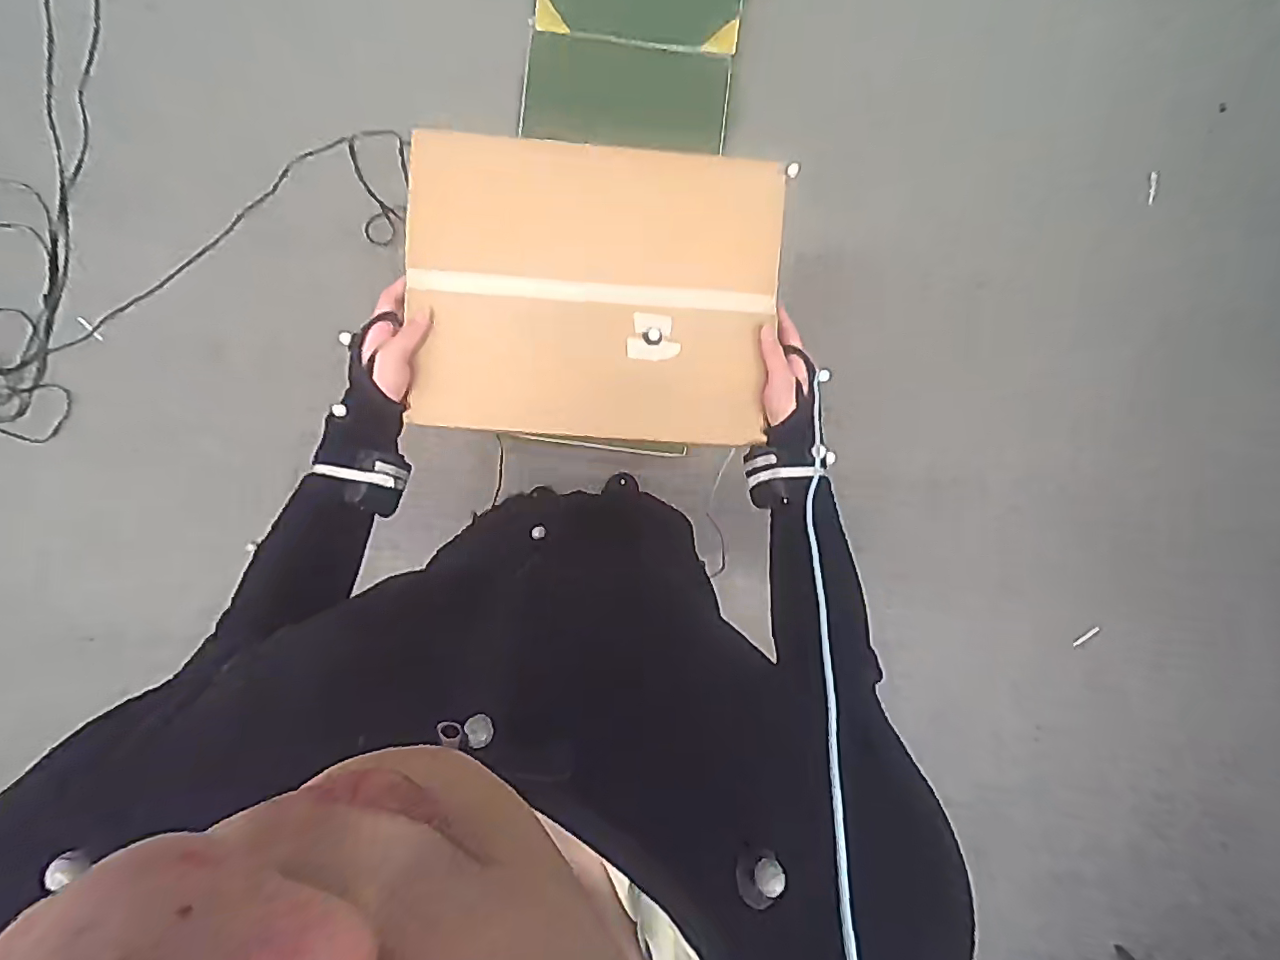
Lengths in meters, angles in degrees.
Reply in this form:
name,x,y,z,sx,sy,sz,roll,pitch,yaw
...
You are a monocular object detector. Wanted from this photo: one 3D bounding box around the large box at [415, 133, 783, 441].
name,x,y,z,sx,sy,sz,roll,pitch,yaw
large box,-0.055,-0.220,0.747,0.408,0.320,0.320,3,93,-4
